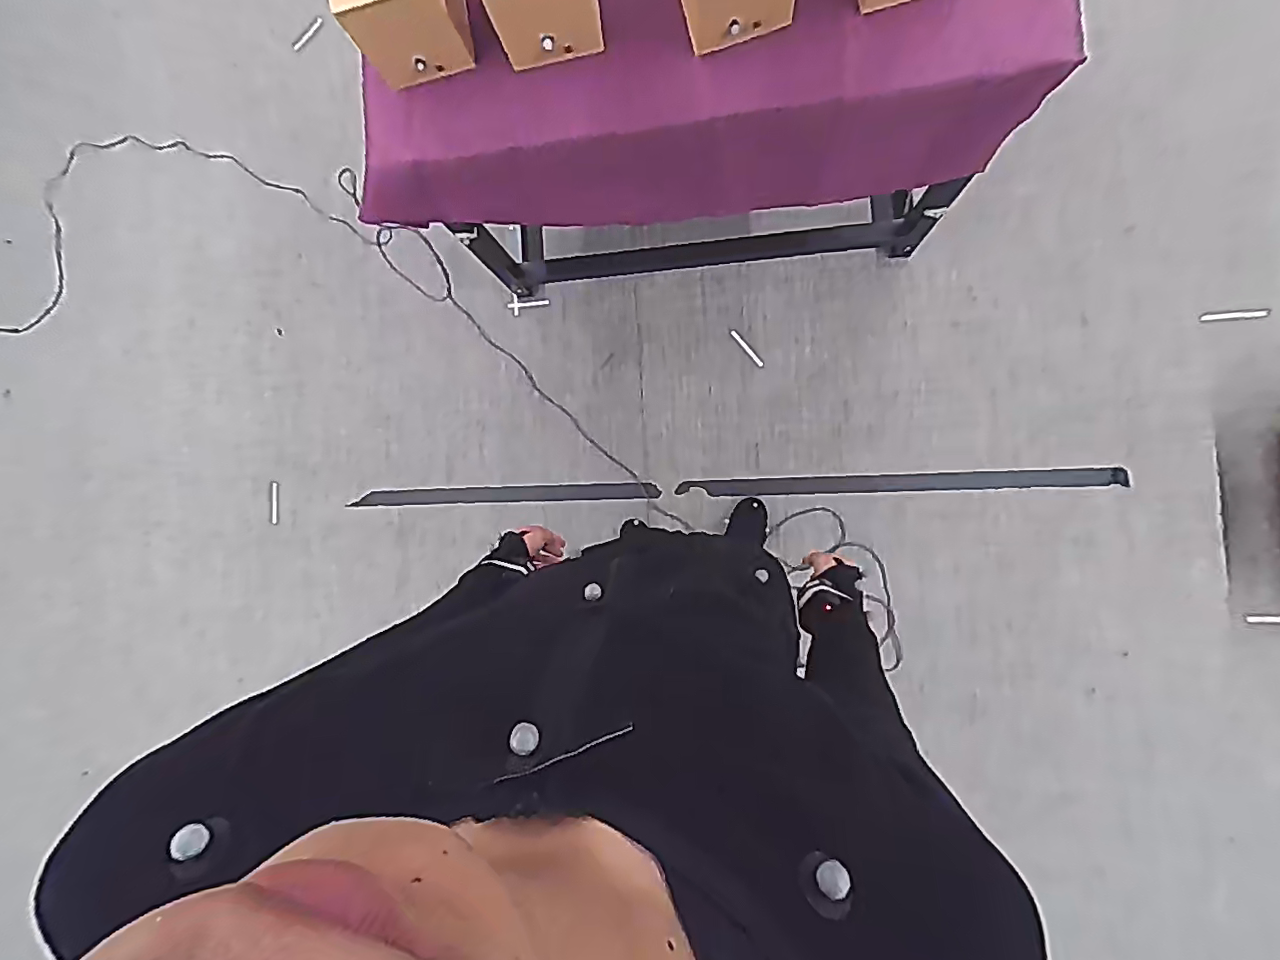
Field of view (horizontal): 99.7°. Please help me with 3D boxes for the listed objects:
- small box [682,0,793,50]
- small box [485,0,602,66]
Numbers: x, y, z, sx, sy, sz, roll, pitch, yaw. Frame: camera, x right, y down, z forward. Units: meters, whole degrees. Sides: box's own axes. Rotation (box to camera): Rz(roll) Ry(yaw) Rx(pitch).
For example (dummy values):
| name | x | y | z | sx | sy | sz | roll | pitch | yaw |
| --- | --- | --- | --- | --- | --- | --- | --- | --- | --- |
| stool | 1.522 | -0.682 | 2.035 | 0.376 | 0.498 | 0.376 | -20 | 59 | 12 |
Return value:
| name | x | y | z | sx | sy | sz | roll | pitch | yaw |
| --- | --- | --- | --- | --- | --- | --- | --- | --- | --- |
| small box | 0.139 | -0.818 | 0.820 | 0.168 | 0.176 | 0.179 | -14 | 86 | 9 |
| small box | -0.164 | -0.820 | 0.863 | 0.168 | 0.176 | 0.179 | -7 | 88 | 8 |
